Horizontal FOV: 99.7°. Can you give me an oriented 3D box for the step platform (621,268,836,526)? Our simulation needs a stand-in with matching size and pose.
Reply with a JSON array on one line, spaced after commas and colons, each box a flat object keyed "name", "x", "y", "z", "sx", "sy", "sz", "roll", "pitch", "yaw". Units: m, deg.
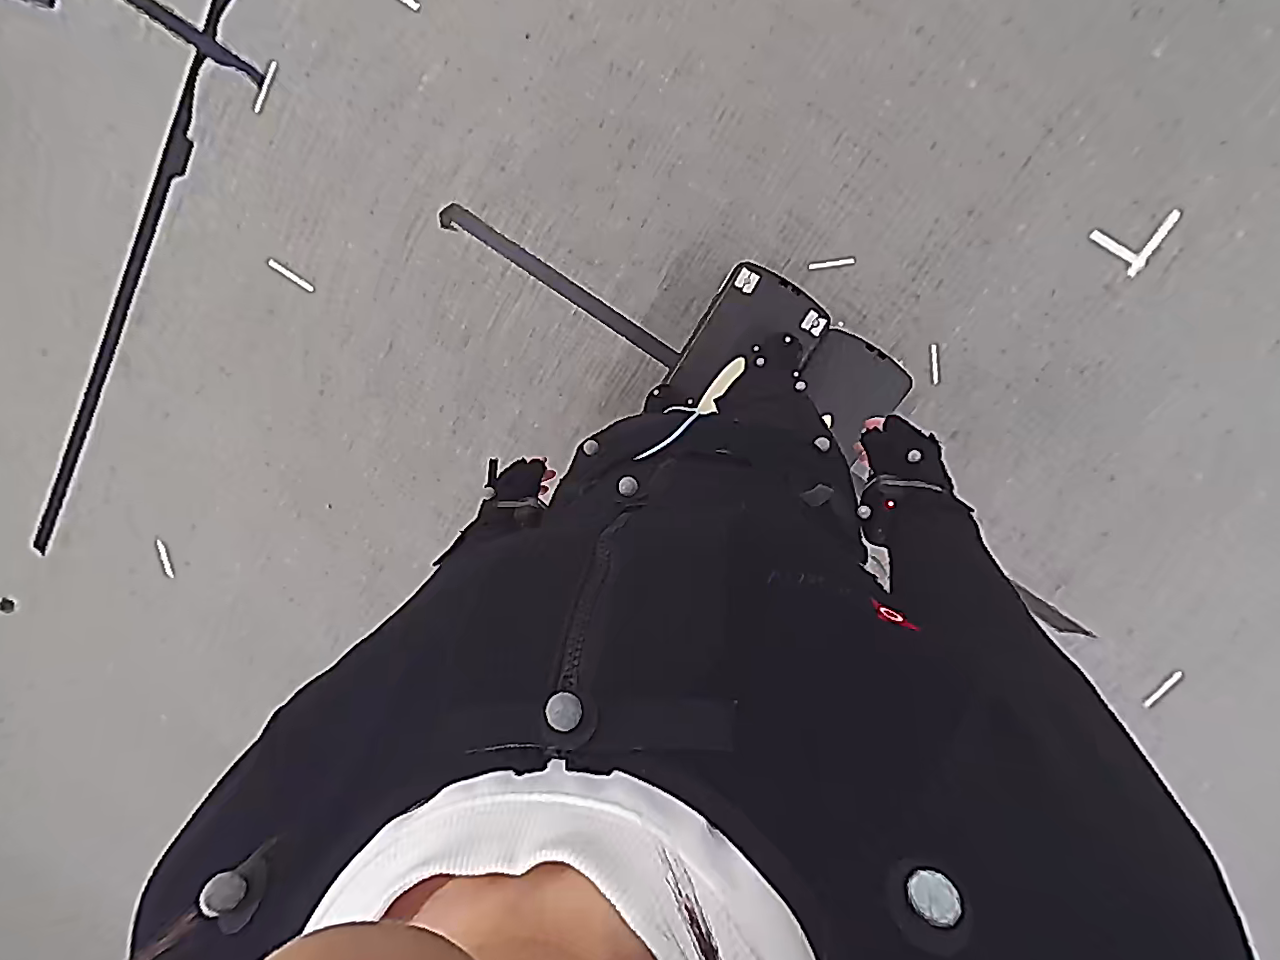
[{"name": "step platform", "x": 0.224, "y": -0.212, "z": 1.474, "sx": 0.286, "sy": 0.204, "sz": 0.684, "roll": 31, "pitch": 103, "yaw": -2}]
